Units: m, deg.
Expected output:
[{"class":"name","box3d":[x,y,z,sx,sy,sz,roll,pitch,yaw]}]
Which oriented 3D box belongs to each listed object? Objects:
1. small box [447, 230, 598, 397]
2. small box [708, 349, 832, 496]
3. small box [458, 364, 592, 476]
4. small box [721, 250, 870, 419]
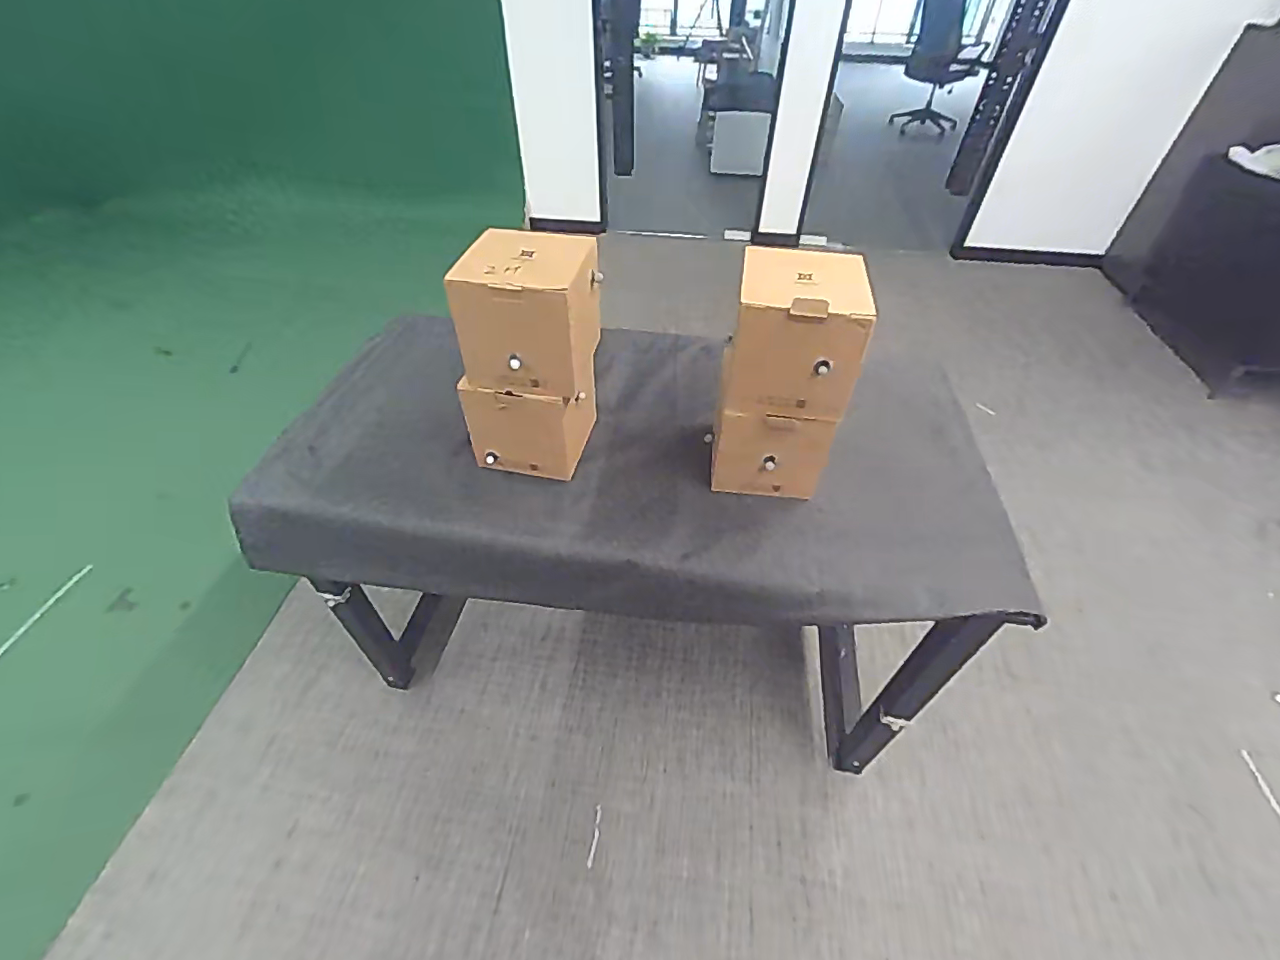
[{"class":"small box","box3d":[-0.160,-0.248,0.803,0.168,0.176,0.179,7,46,6]},{"class":"small box","box3d":[0.205,-0.093,0.891,0.168,0.176,0.179,5,46,4]},{"class":"small box","box3d":[-0.180,-0.129,0.916,0.168,0.176,0.179,10,45,7]},{"class":"small box","box3d":[0.212,-0.207,0.774,0.168,0.176,0.179,8,45,6]}]
